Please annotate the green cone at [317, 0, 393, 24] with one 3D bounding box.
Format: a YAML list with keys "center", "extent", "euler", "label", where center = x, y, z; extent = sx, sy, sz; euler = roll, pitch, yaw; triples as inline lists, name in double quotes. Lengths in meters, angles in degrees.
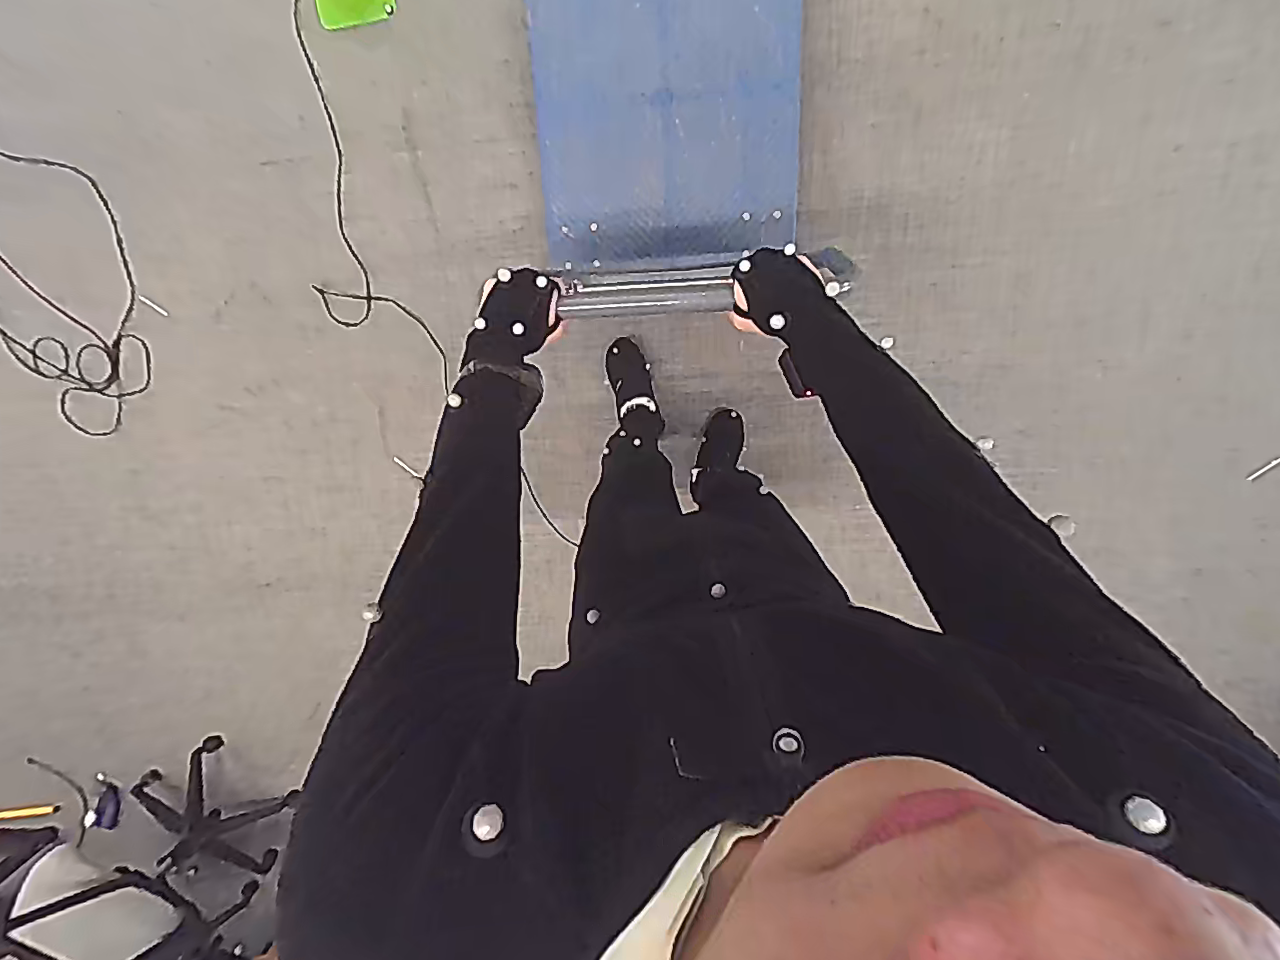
- center: [-0.723, -1.180, 1.135]
  extent: [0.202, 0.368, 0.200]
  euler: [-5, 106, 9]
  label: "green cone"
